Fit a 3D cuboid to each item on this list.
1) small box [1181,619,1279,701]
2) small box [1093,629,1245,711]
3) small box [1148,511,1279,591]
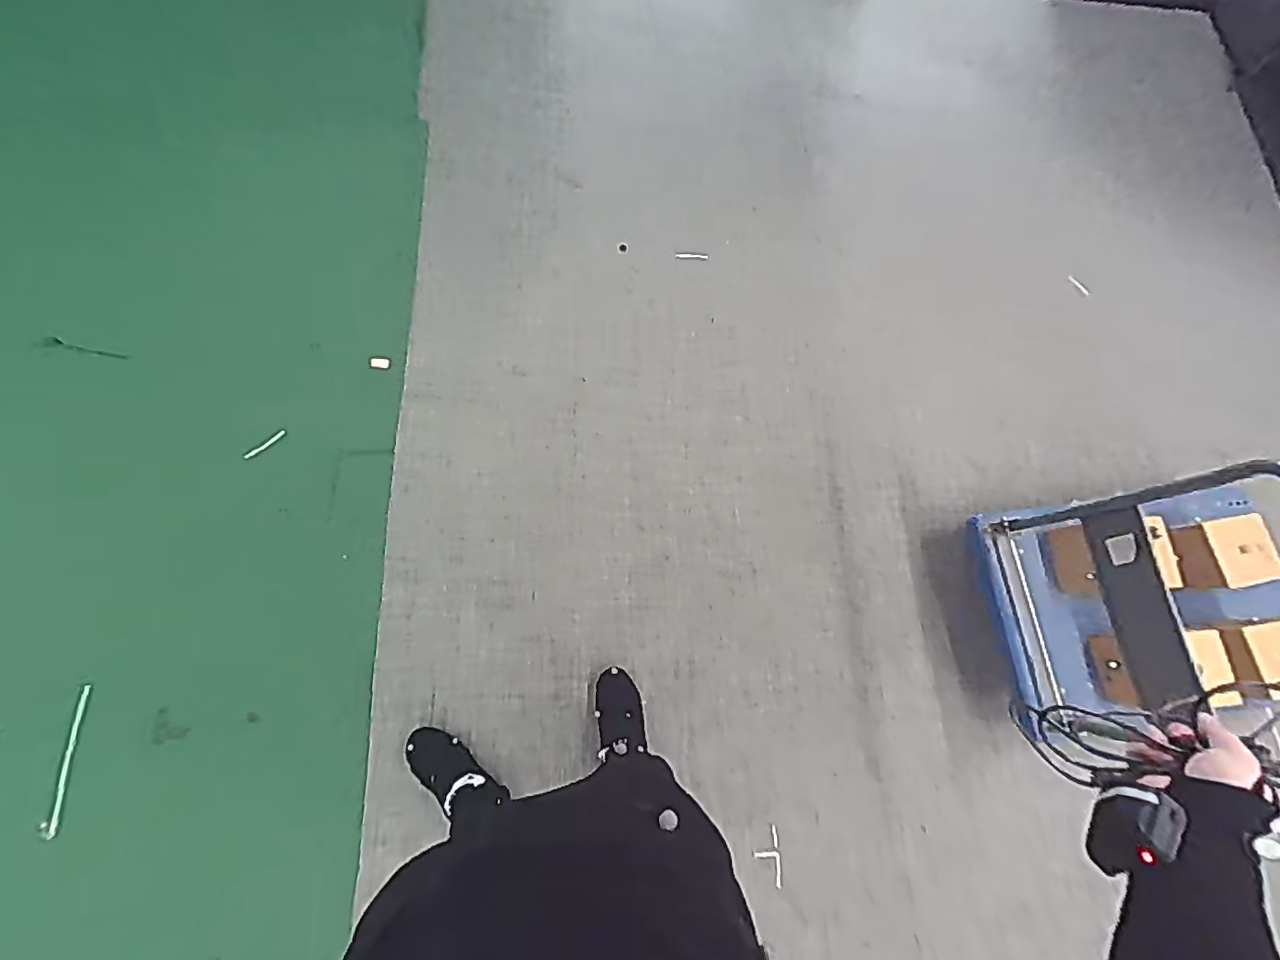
[{"bbox_3d":[1.494,0.432,1.318,0.179,0.176,0.168,-7,74,-7],"label":"small box"},{"bbox_3d":[1.251,0.447,1.293,0.179,0.176,0.168,-3,75,-6],"label":"small box"},{"bbox_3d":[1.466,0.186,1.385,0.179,0.176,0.168,-8,76,-8],"label":"small box"}]
